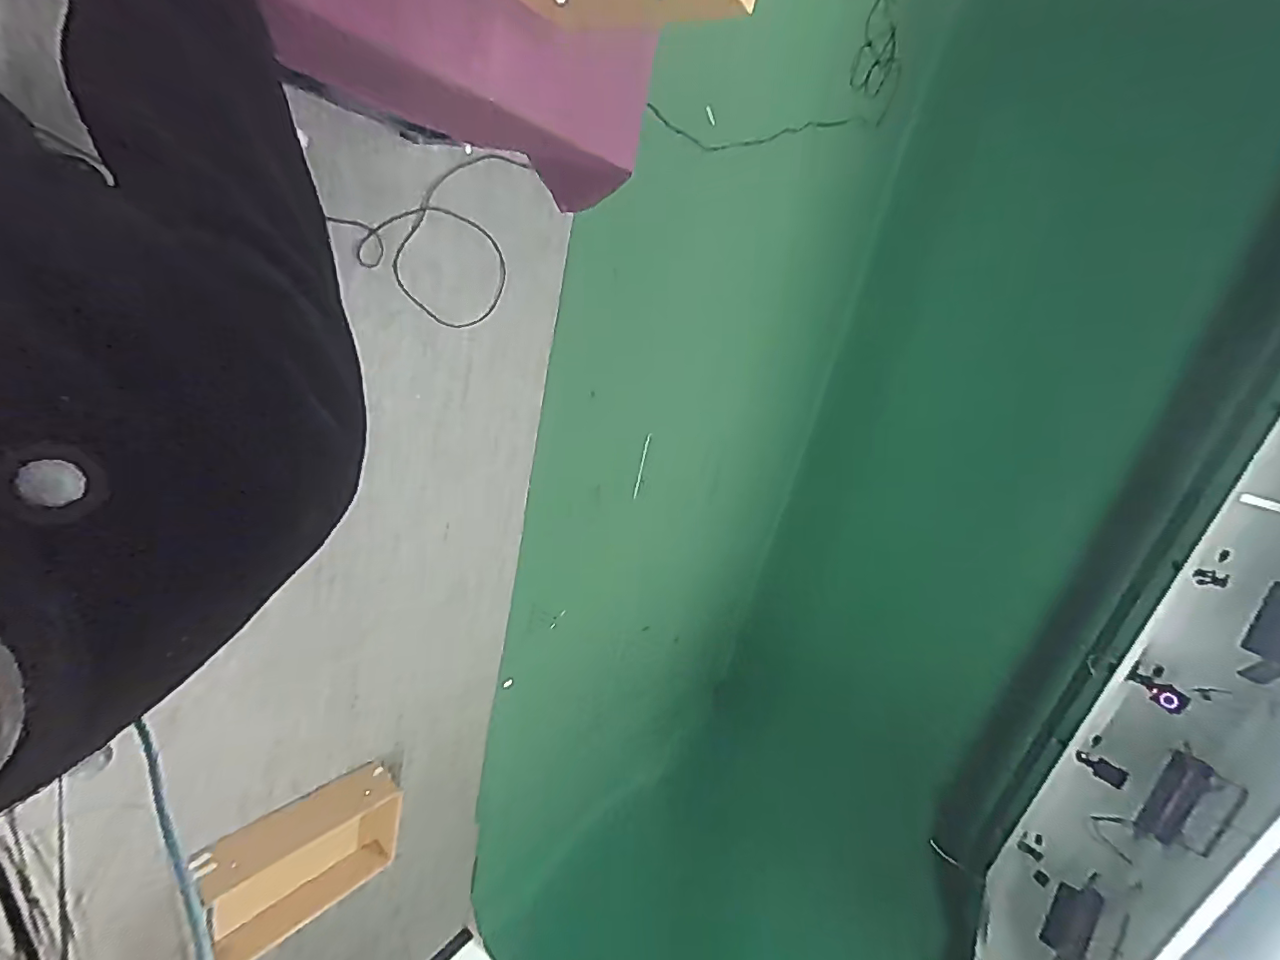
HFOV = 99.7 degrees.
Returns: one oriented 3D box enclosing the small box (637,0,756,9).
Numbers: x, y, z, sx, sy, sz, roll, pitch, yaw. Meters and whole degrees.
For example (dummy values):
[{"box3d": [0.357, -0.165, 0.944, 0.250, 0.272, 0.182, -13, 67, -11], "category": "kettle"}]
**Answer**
[{"box3d": [0.042, -0.663, 0.599, 0.179, 0.176, 0.168, -14, 122, -50], "category": "small box"}]
